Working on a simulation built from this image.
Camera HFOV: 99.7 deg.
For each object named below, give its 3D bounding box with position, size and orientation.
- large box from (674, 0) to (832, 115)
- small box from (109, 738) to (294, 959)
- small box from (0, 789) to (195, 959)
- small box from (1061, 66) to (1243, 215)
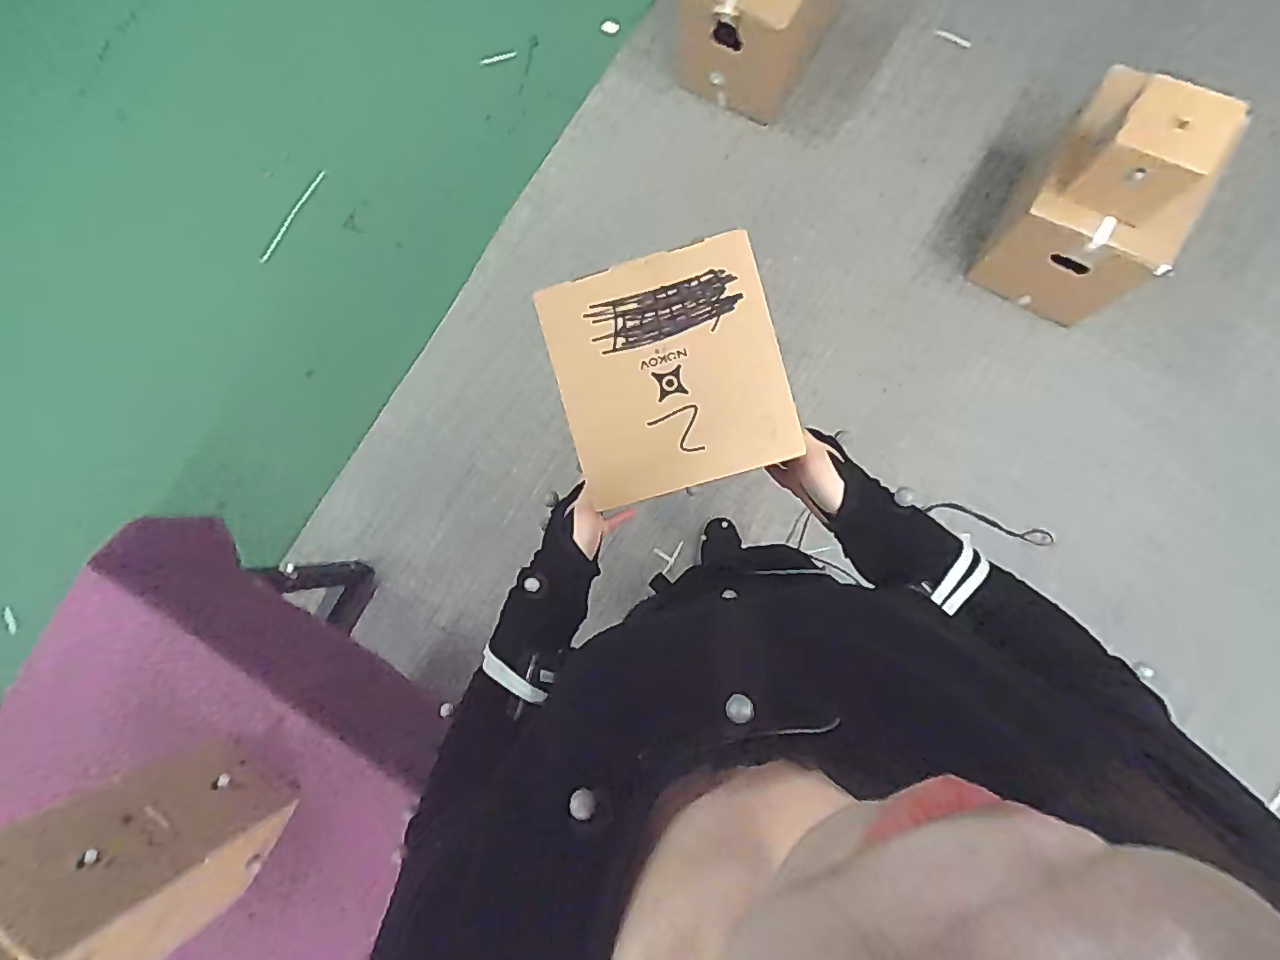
[{"bbox_3d":[0.326,-1.339,1.496,0.320,0.320,0.408,31,87,9],"label":"large box"},{"bbox_3d":[-0.628,0.497,0.748,0.168,0.176,0.179,30,88,9],"label":"small box"},{"bbox_3d":[-0.643,0.483,0.584,0.168,0.176,0.179,30,89,9],"label":"small box"},{"bbox_3d":[1.028,-0.678,1.103,0.179,0.176,0.168,30,88,11],"label":"small box"}]
